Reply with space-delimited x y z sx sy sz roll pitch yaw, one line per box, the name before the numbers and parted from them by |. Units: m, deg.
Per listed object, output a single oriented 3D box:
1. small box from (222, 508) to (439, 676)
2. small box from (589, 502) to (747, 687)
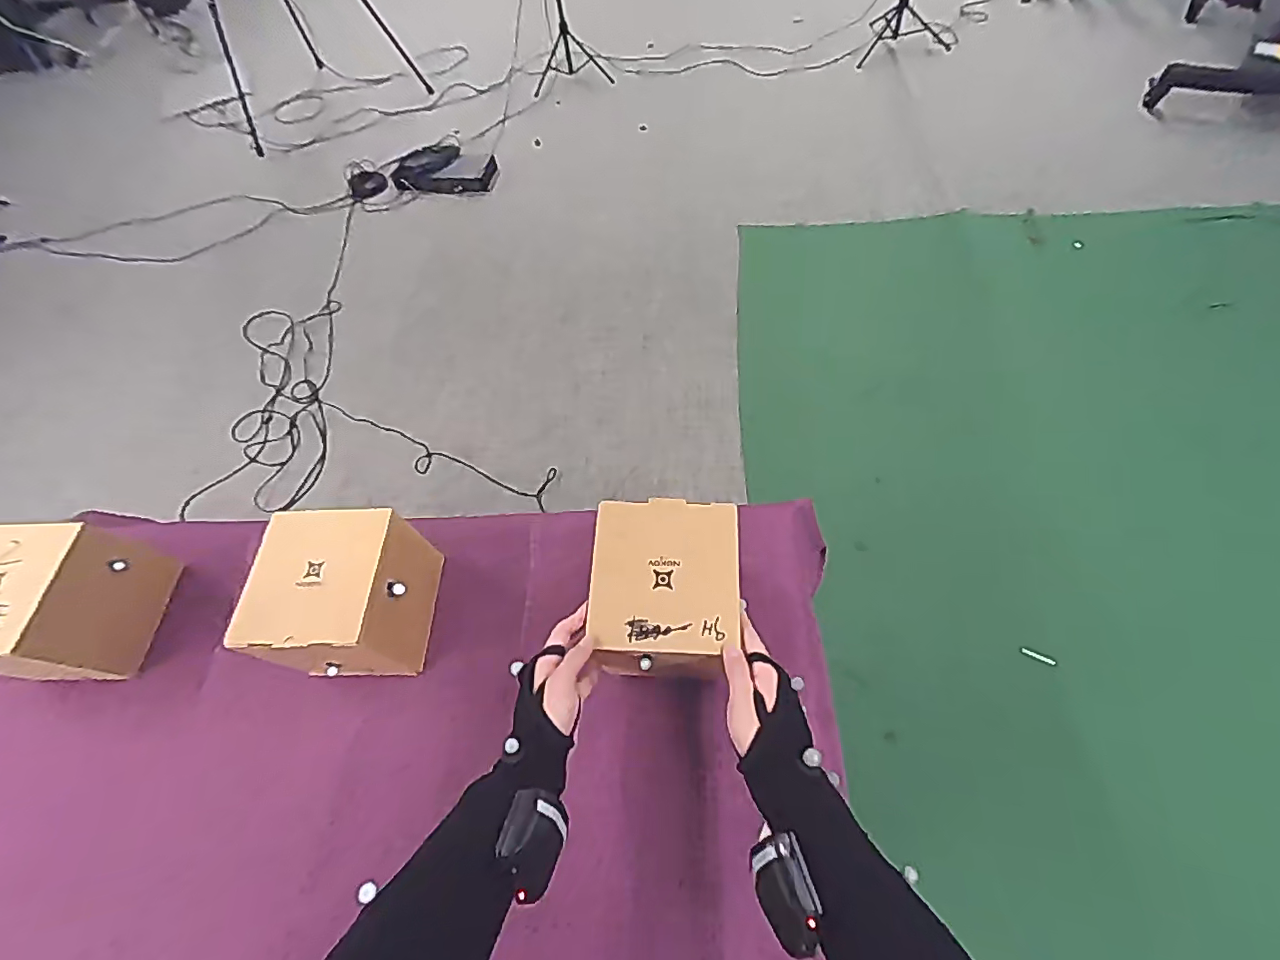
small box | -0.386 0.152 0.717 0.168 0.176 0.179 -1 60 4
small box | 0.039 0.143 0.662 0.168 0.176 0.179 1 61 6
